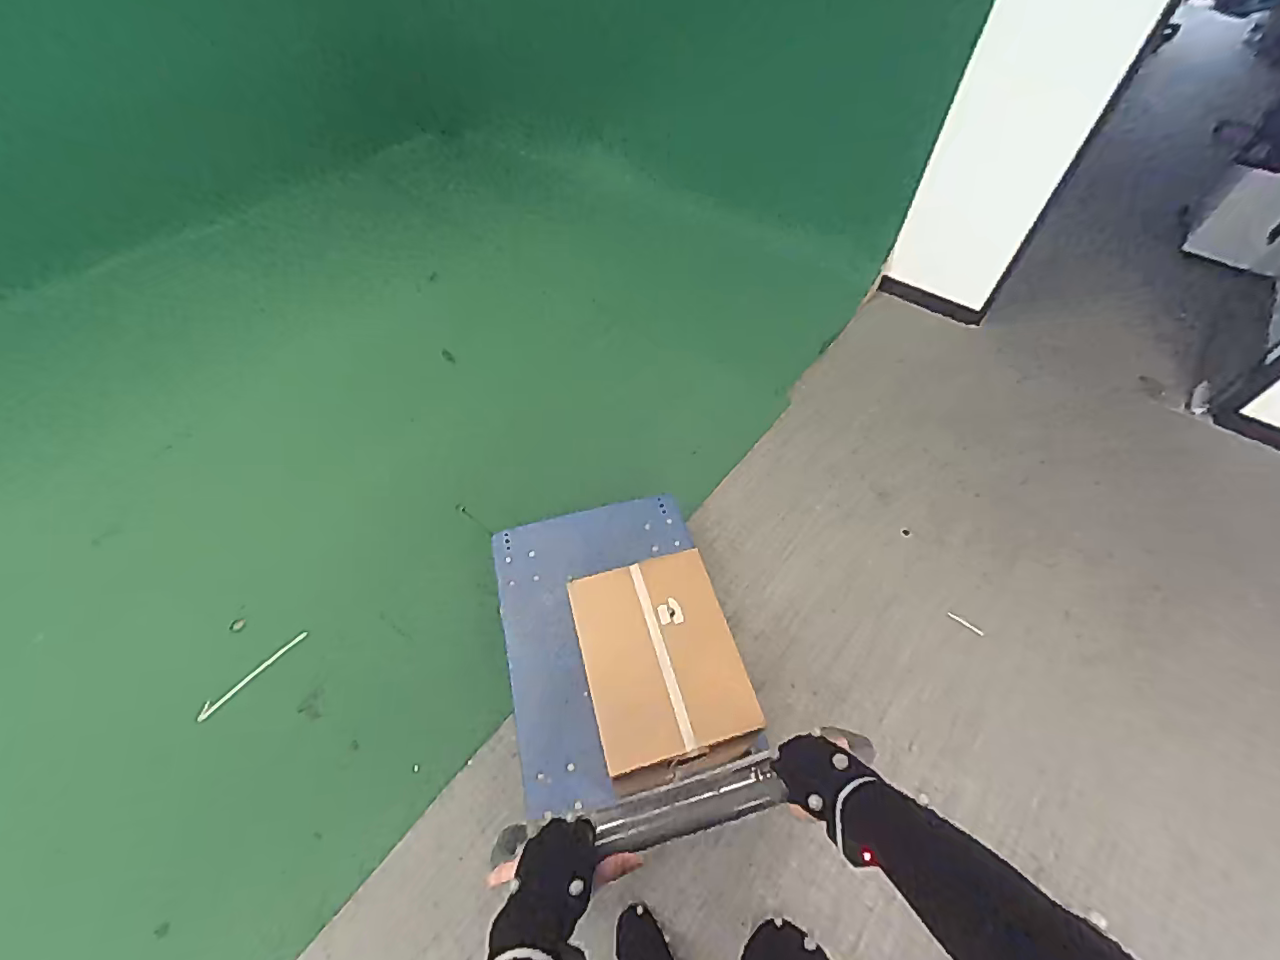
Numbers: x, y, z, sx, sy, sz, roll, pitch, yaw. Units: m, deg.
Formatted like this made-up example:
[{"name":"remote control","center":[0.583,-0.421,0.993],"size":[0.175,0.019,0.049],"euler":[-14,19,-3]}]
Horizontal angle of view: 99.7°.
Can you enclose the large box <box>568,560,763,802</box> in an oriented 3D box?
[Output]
[{"name":"large box","center":[0.042,0.462,1.253],"size":[0.320,0.320,0.408],"euler":[-13,54,-10]}]
